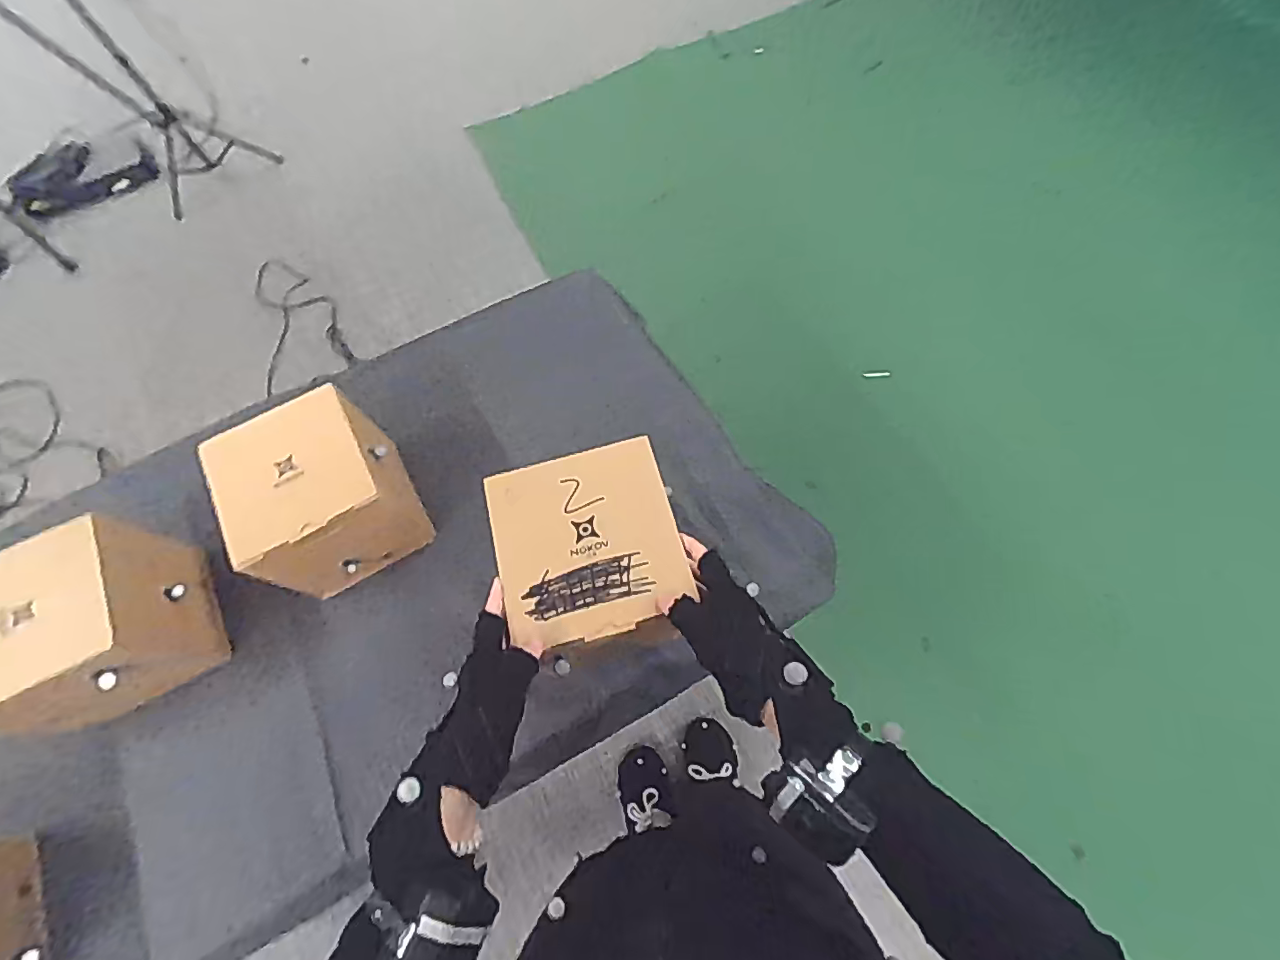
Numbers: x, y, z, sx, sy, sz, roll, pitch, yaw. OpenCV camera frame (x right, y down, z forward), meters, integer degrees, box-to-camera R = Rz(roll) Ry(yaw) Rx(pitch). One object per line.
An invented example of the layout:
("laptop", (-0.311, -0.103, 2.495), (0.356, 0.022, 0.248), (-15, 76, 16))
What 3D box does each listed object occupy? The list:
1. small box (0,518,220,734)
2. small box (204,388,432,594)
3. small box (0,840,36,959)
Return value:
("small box", (-0.638, 0.173, 0.632), (0.179, 0.176, 0.168), (-27, 70, -9))
("small box", (-0.398, 0.022, 0.691), (0.168, 0.176, 0.179), (-29, 70, -10))
("small box", (-0.734, 0.479, 0.507), (0.179, 0.176, 0.168), (-29, 69, -10))
